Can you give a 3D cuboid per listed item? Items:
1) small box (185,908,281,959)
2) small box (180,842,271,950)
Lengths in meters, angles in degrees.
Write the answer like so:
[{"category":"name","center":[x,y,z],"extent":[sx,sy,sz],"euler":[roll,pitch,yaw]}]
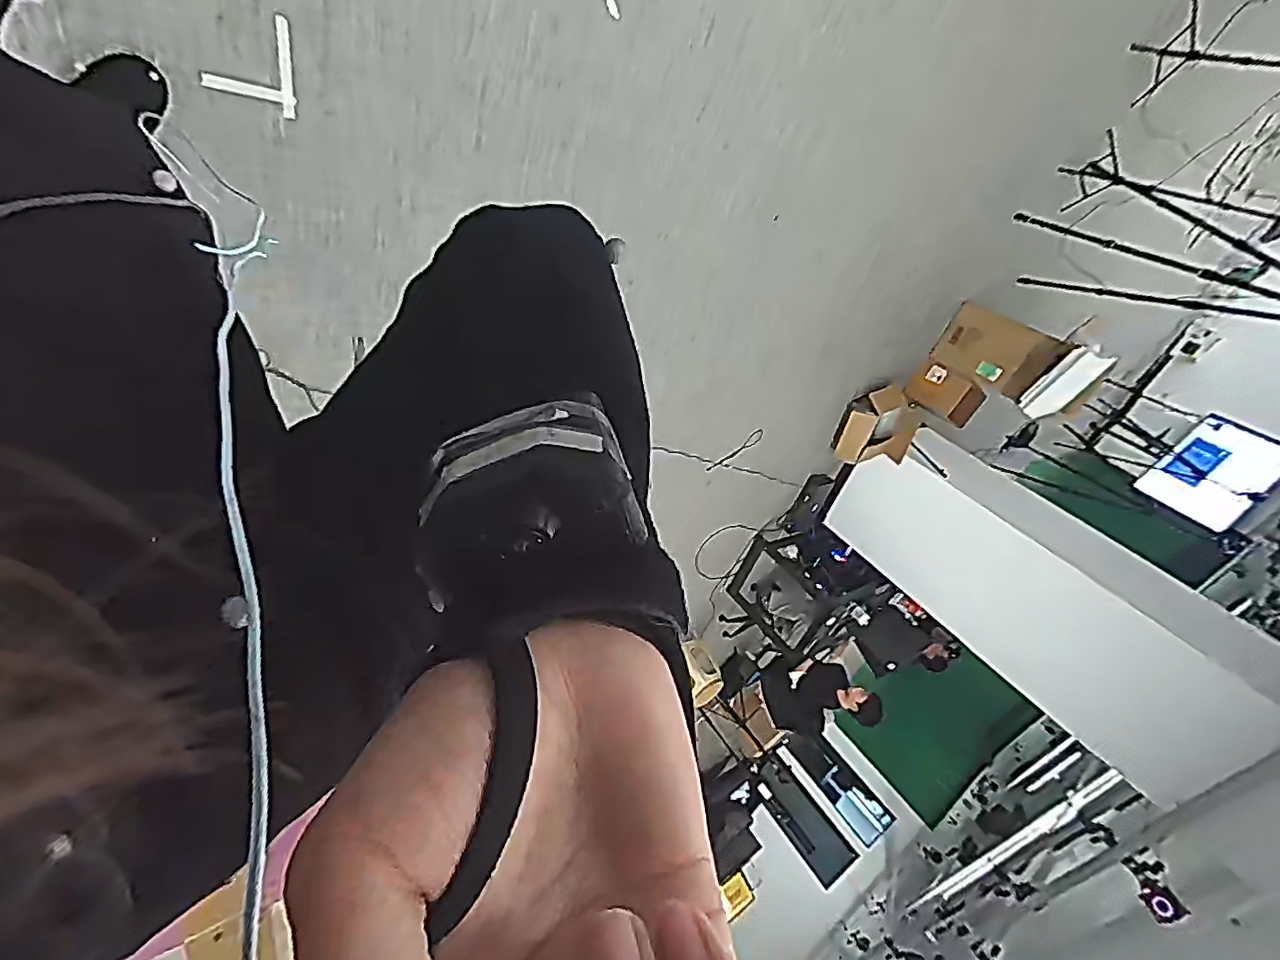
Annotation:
[{"category":"small box","center":[-0.949,1.160,1.271],"extent":[0.168,0.176,0.179],"euler":[-10,133,-37]},{"category":"small box","center":[-1.041,1.055,1.358],"extent":[0.168,0.176,0.179],"euler":[-6,130,-40]}]
